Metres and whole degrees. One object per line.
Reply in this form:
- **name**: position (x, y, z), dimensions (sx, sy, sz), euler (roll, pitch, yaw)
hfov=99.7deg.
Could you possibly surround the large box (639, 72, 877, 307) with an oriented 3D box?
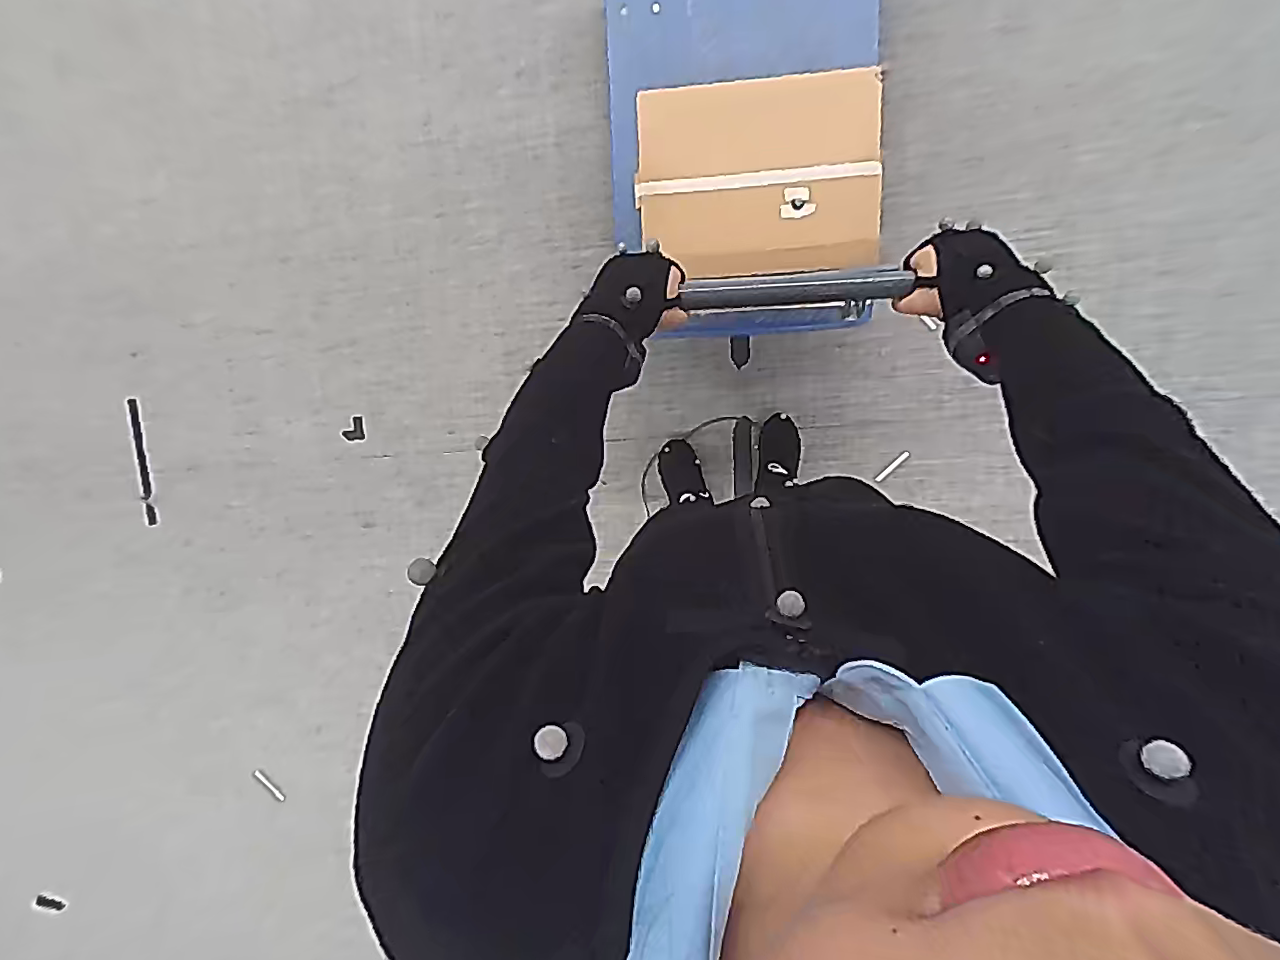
- **large box**: position (0.217, -0.543, 1.086), dimensions (0.408, 0.320, 0.320), euler (-2, 100, 5)
